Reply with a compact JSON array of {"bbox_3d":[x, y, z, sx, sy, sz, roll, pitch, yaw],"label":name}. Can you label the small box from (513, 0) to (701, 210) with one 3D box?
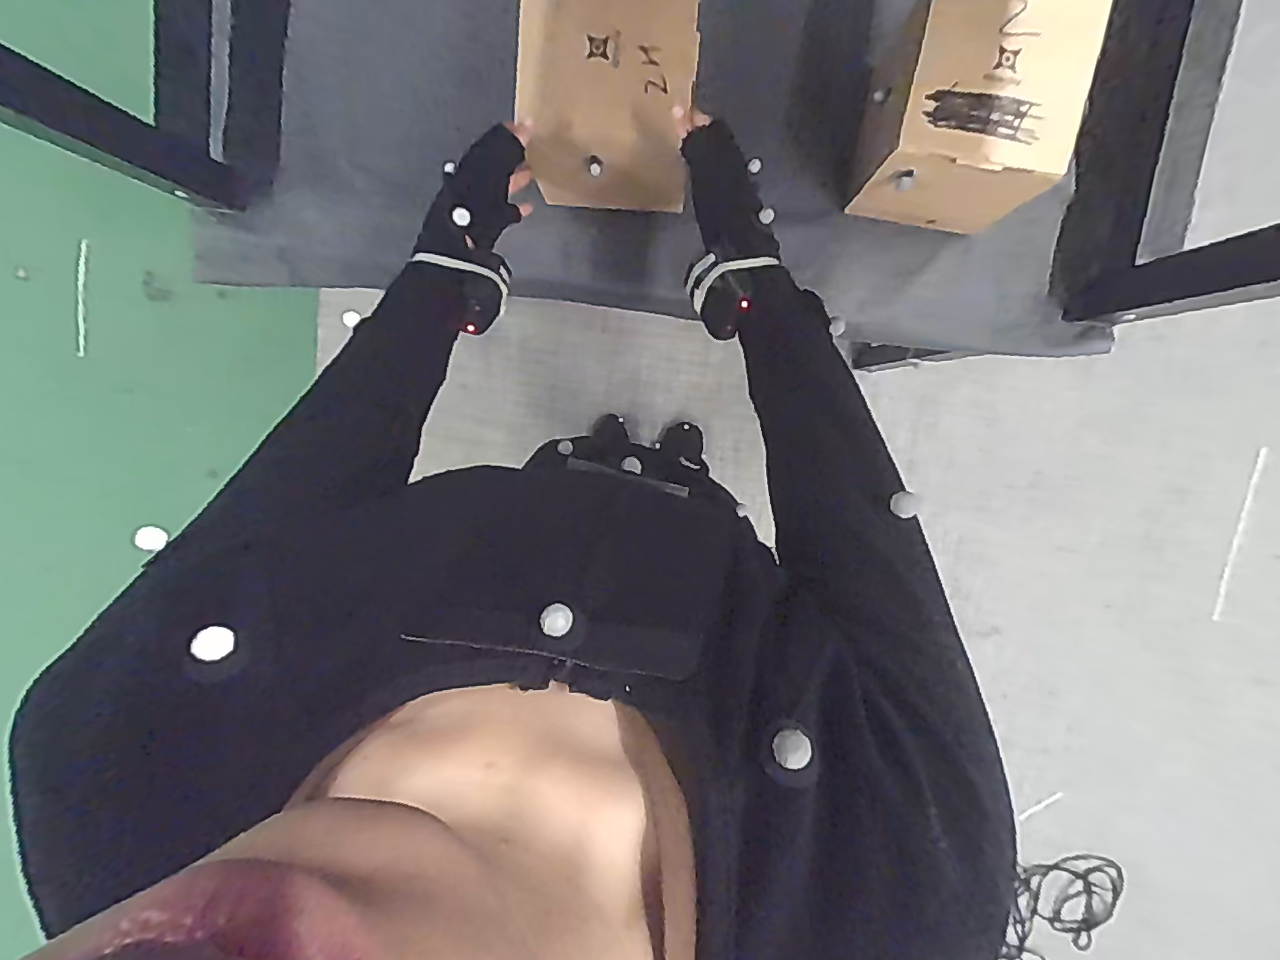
[{"bbox_3d":[-0.030,-0.422,0.606,0.179,0.176,0.168,5,96,1],"label":"small box"}]
